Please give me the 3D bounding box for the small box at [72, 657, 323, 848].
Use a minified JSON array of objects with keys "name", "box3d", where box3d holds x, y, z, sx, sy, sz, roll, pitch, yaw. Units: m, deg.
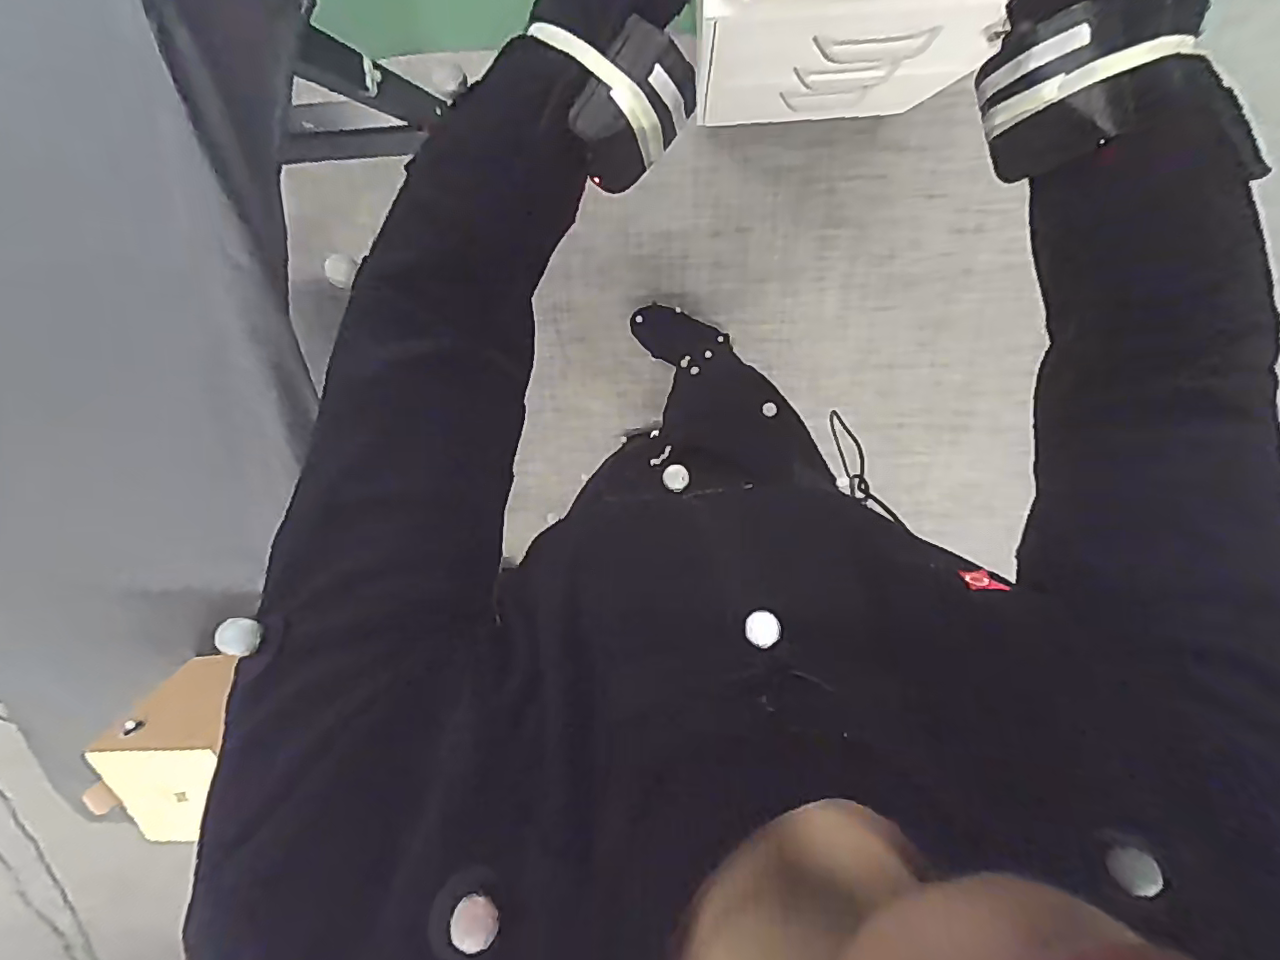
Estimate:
[{"name":"small box","box3d":[-0.565,0.356,0.726,0.179,0.176,0.168,-5,113,7]}]
